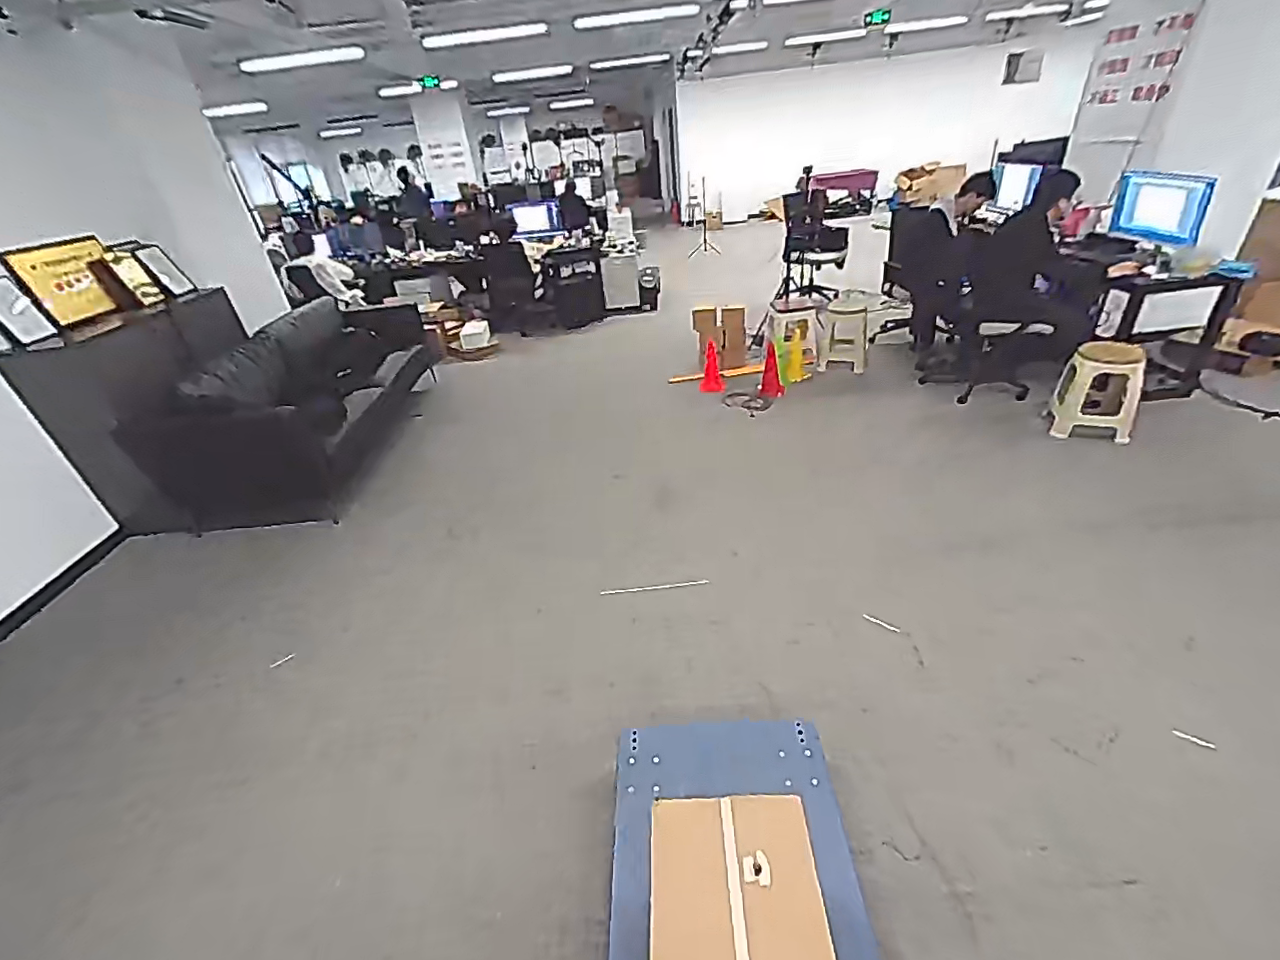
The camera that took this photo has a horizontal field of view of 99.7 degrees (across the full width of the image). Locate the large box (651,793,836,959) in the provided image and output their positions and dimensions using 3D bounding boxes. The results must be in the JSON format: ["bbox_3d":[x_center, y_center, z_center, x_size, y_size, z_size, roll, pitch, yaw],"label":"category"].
[{"bbox_3d":[0.193,0.902,1.053,0.320,0.320,0.408,-4,30,4],"label":"large box"}]
